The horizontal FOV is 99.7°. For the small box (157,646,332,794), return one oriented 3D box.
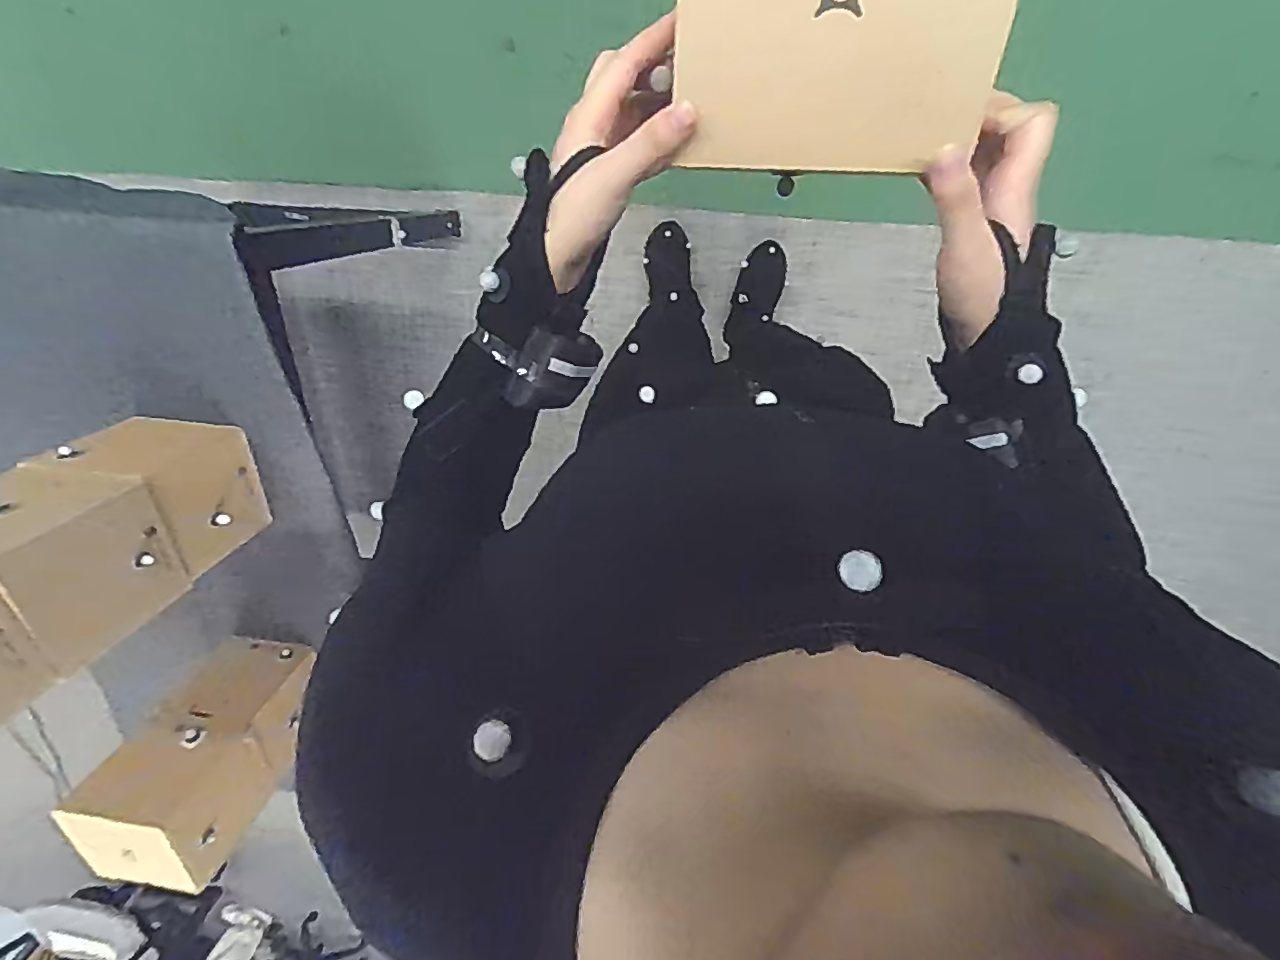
[{"bbox_3d":[-0.695,0.424,0.974,0.168,0.176,0.179,6,119,4],"label":"small box"}]

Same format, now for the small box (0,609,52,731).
[{"bbox_3d":[-0.710,0.189,0.476,0.179,0.176,0.168,3,119,7],"label":"small box"}]

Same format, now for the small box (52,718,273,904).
[{"bbox_3d":[-0.711,0.503,0.833,0.168,0.176,0.179,7,118,3],"label":"small box"}]

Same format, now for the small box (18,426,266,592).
[{"bbox_3d":[-0.672,0.033,0.763,0.179,0.176,0.168,6,119,5],"label":"small box"}]
